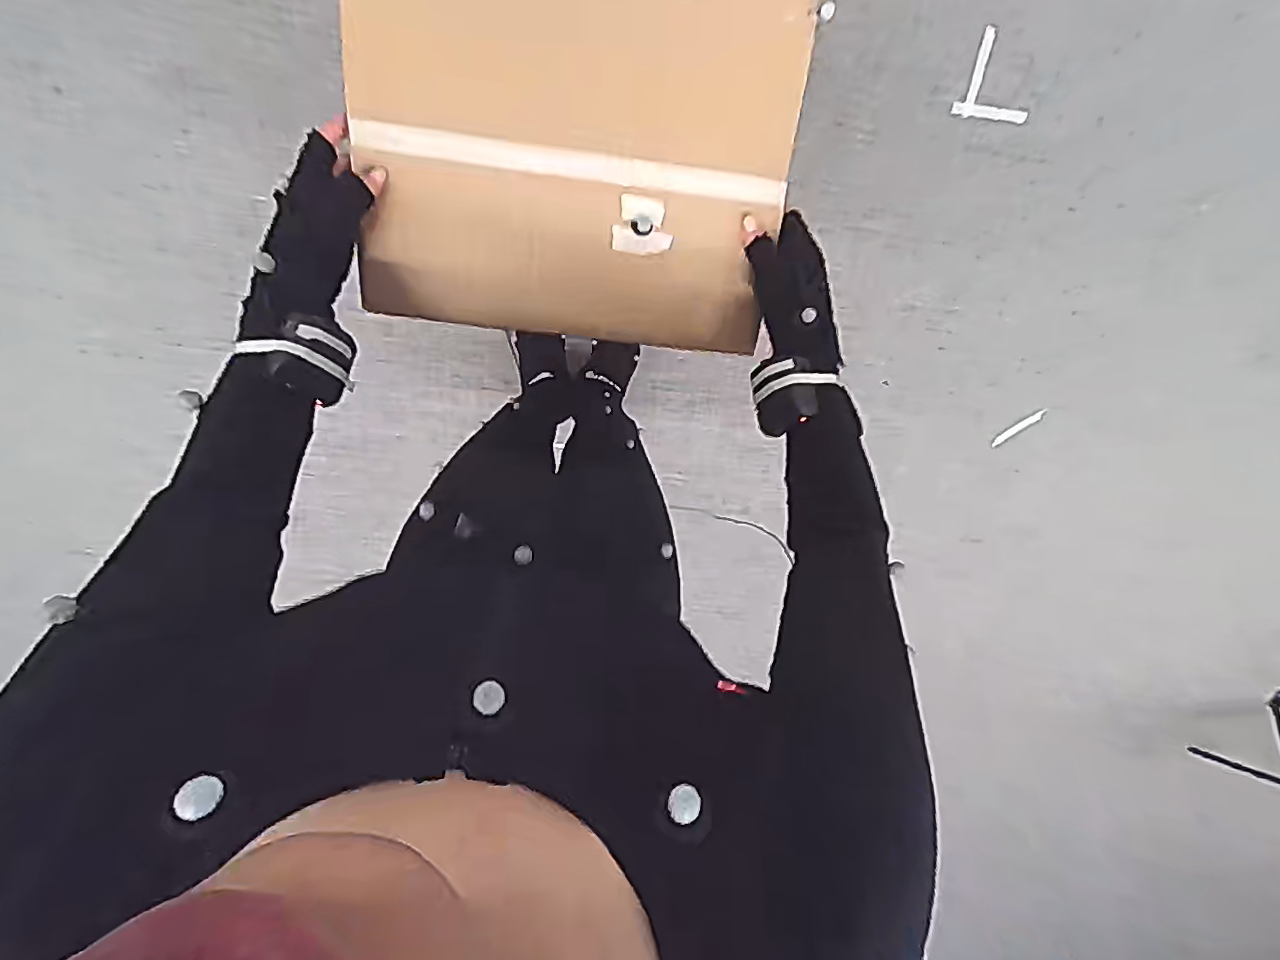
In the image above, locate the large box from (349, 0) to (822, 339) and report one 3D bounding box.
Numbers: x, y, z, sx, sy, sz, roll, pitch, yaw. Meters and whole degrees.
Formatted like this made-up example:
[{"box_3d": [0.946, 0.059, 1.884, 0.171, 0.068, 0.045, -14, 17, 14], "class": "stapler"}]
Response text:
[{"box_3d": [-0.066, -0.356, 0.633, 0.408, 0.320, 0.320, 4, 112, -7], "class": "large box"}]
